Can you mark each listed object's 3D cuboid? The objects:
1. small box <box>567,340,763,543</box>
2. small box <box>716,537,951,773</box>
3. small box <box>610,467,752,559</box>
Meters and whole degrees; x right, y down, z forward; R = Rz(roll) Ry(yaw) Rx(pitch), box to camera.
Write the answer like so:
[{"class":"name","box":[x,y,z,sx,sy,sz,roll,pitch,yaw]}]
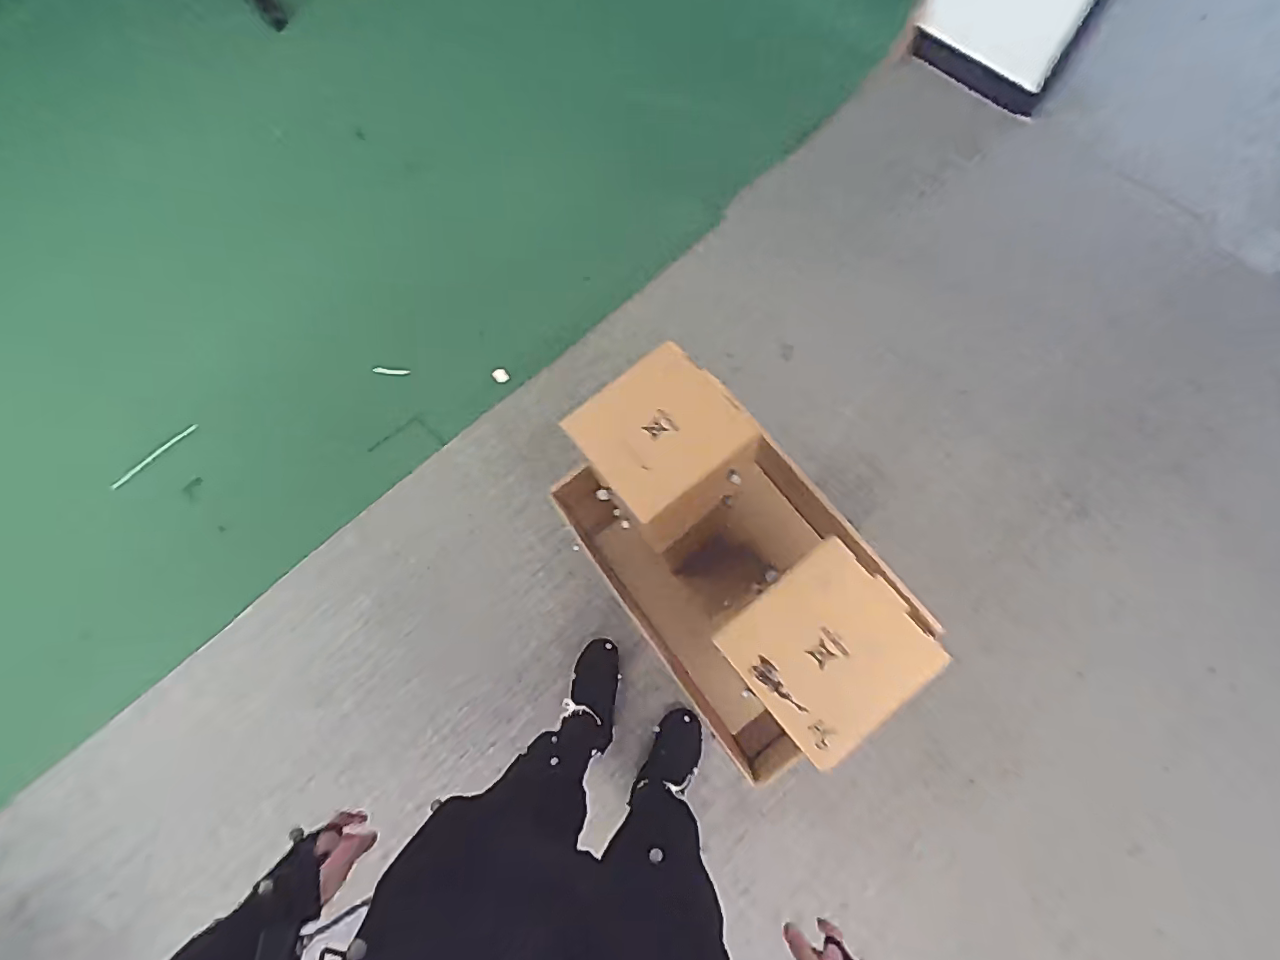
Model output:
[{"class":"small box","box":[0.034,-0.041,0.709,0.179,0.176,0.168,-37,72,-5]},{"class":"small box","box":[0.201,0.192,0.623,0.179,0.176,0.168,-38,73,-5]},{"class":"small box","box":[0.054,0.004,0.865,0.179,0.176,0.168,-38,72,-5]}]
